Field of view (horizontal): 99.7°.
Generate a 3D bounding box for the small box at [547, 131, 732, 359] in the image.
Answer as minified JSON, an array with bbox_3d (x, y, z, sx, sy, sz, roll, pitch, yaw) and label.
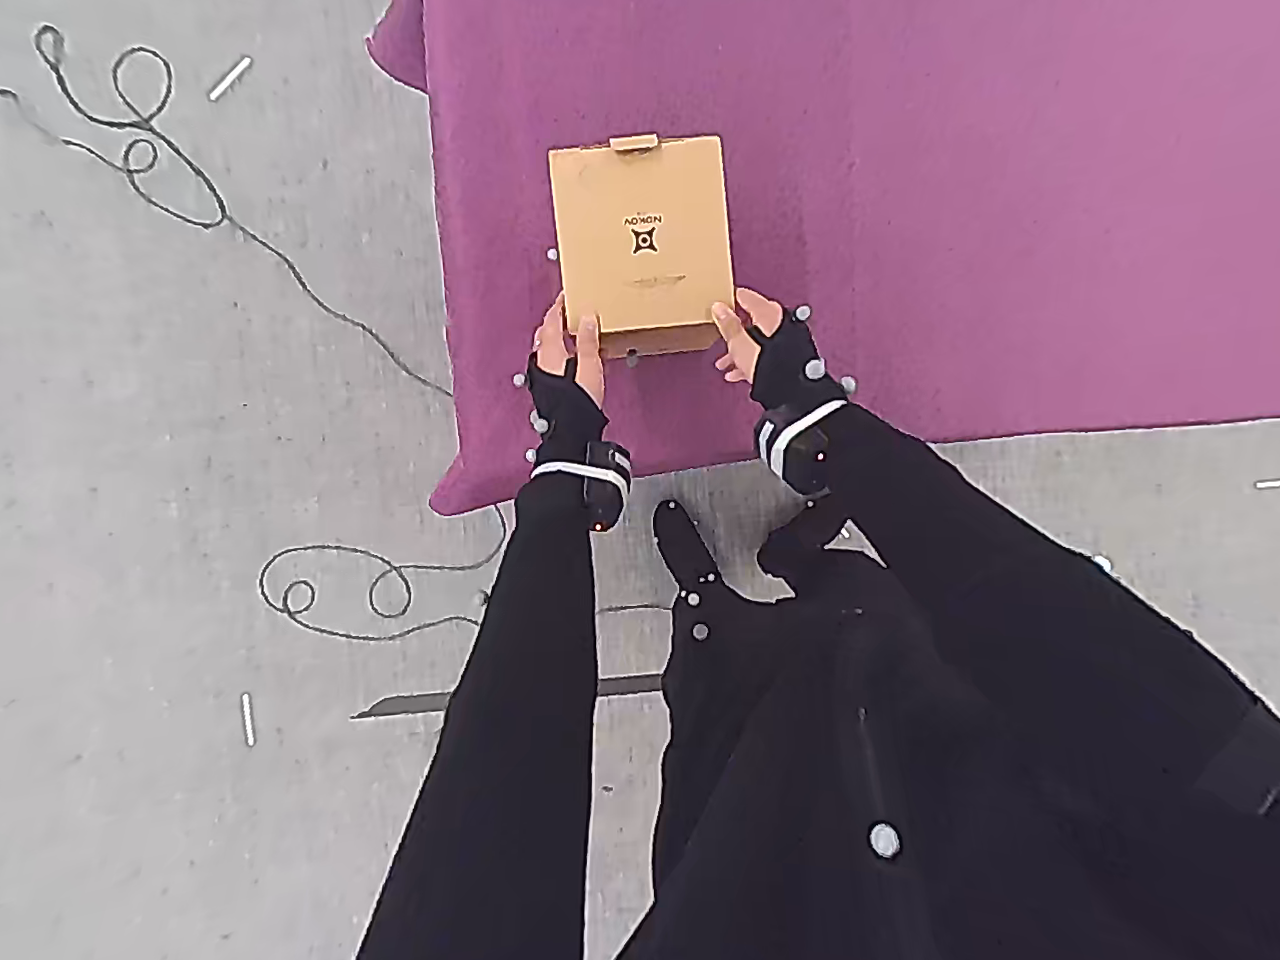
[{"bbox_3d":[-0.004,-0.238,0.586,0.168,0.176,0.179,-6,94,-2],"label":"small box"}]
